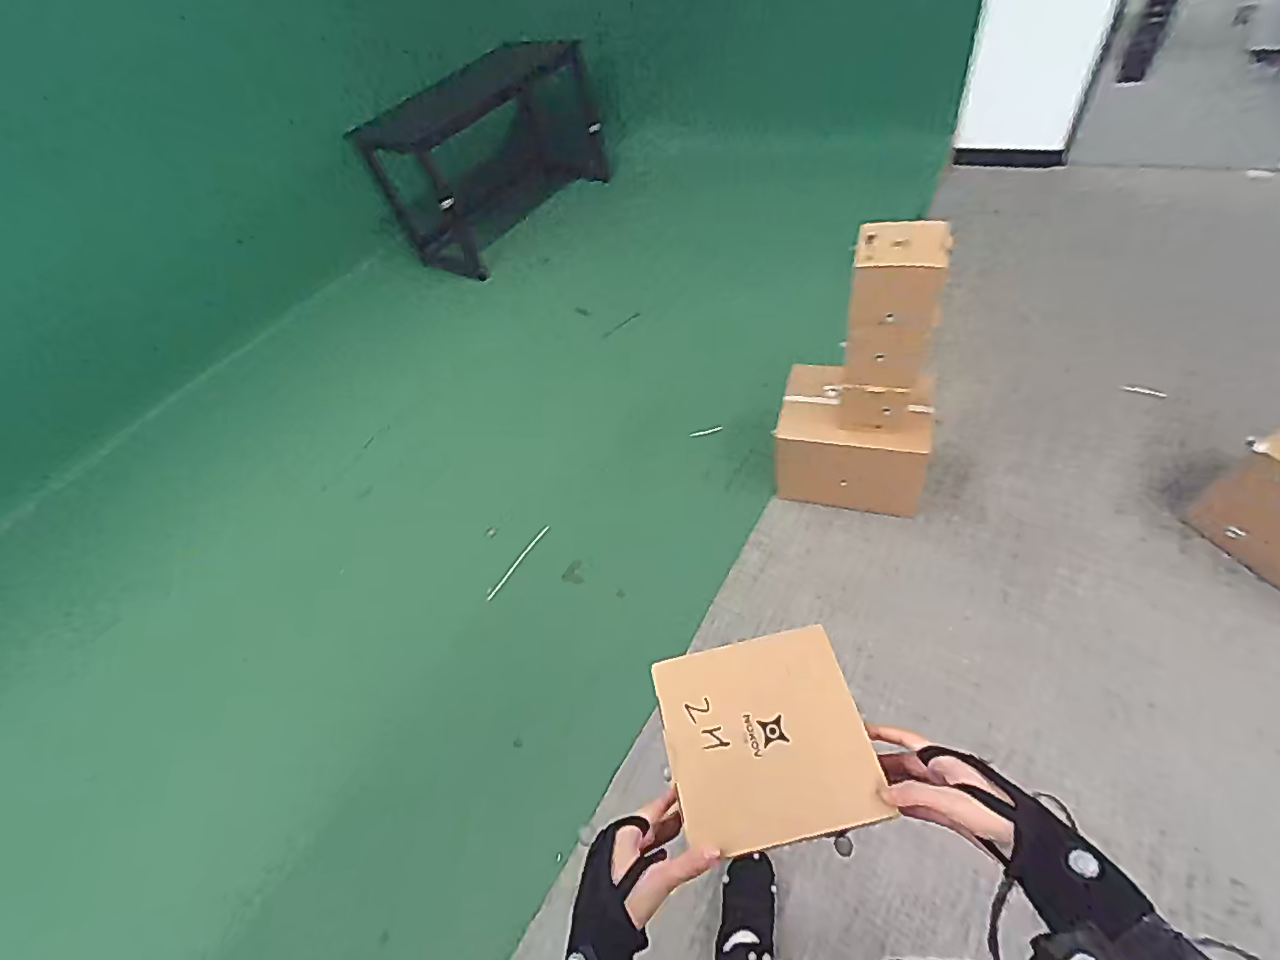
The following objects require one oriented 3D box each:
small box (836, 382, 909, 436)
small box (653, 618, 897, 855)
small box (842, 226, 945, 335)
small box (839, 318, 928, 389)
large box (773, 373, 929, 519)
[{"bbox_3d":[0.628,-0.240,1.459,0.168,0.176,0.179,9,55,21],"label":"small box"},{"bbox_3d":[0.119,0.260,0.541,0.179,0.176,0.168,-13,54,1],"label":"small box"},{"bbox_3d":[0.563,-0.443,1.209,0.179,0.176,0.168,9,55,20],"label":"small box"},{"bbox_3d":[0.598,-0.341,1.333,0.179,0.176,0.168,7,55,21],"label":"small box"},{"bbox_3d":[0.644,-0.107,1.667,0.408,0.320,0.320,7,54,22],"label":"large box"}]
